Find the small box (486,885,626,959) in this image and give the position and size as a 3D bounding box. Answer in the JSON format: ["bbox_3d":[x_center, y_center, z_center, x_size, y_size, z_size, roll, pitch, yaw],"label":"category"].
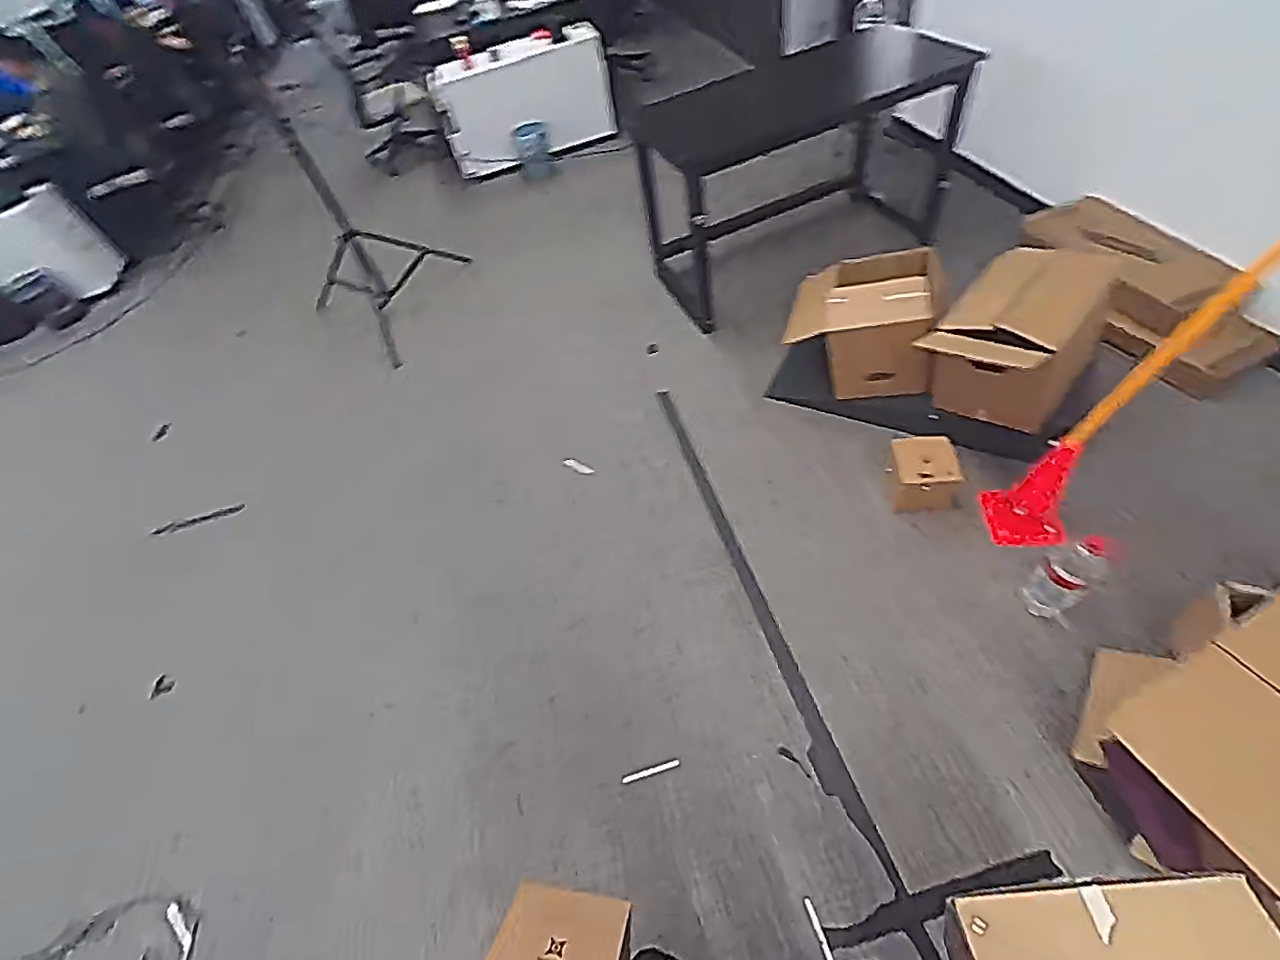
[{"bbox_3d":[-0.113,0.689,0.706,0.168,0.179,0.176,3,99,10],"label":"small box"}]
